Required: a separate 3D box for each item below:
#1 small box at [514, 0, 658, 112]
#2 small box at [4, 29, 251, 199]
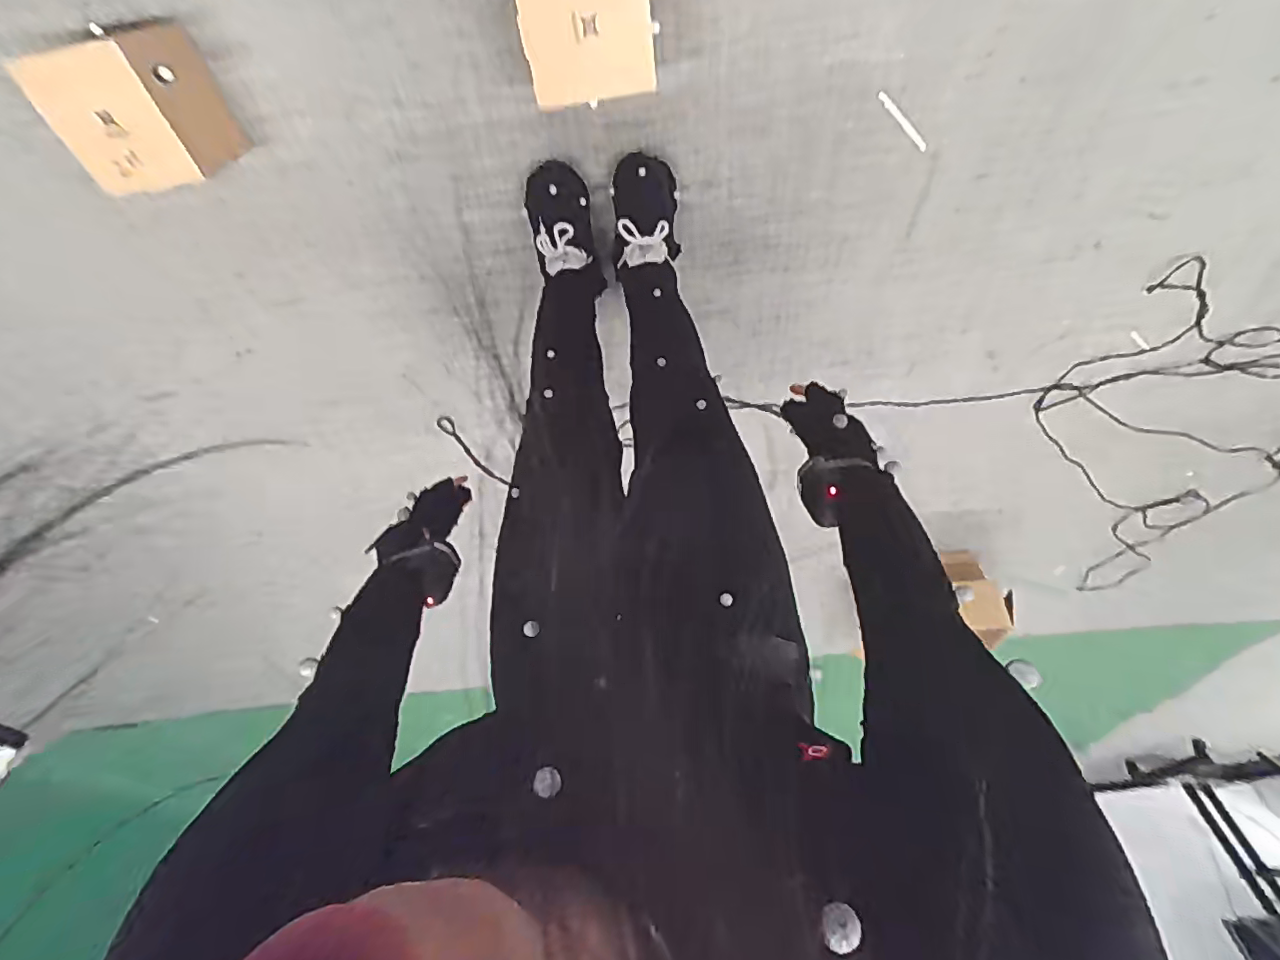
[{"bbox_3d":[-0.074,-0.651,0.765,0.179,0.176,0.168,-6,137,4],"label":"small box"},{"bbox_3d":[-0.751,-0.559,0.821,0.168,0.176,0.179,-7,137,4],"label":"small box"}]
